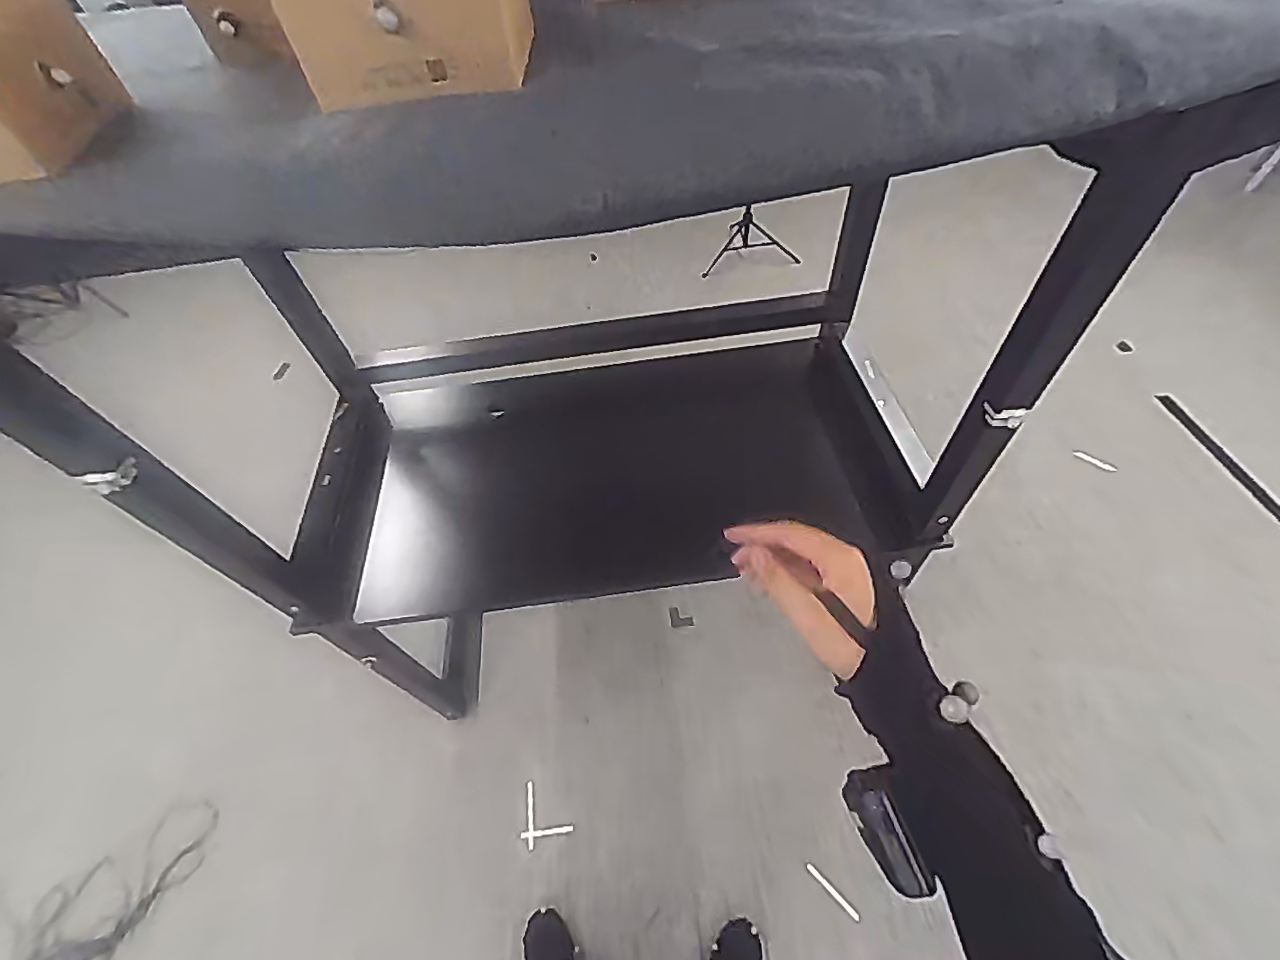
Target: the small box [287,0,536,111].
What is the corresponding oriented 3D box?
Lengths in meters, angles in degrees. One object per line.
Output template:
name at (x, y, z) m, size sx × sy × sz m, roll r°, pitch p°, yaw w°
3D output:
small box at (-0.185, -0.423, 0.432) m, size 0.168 × 0.176 × 0.179 m, roll -6°, pitch 52°, yaw 3°
